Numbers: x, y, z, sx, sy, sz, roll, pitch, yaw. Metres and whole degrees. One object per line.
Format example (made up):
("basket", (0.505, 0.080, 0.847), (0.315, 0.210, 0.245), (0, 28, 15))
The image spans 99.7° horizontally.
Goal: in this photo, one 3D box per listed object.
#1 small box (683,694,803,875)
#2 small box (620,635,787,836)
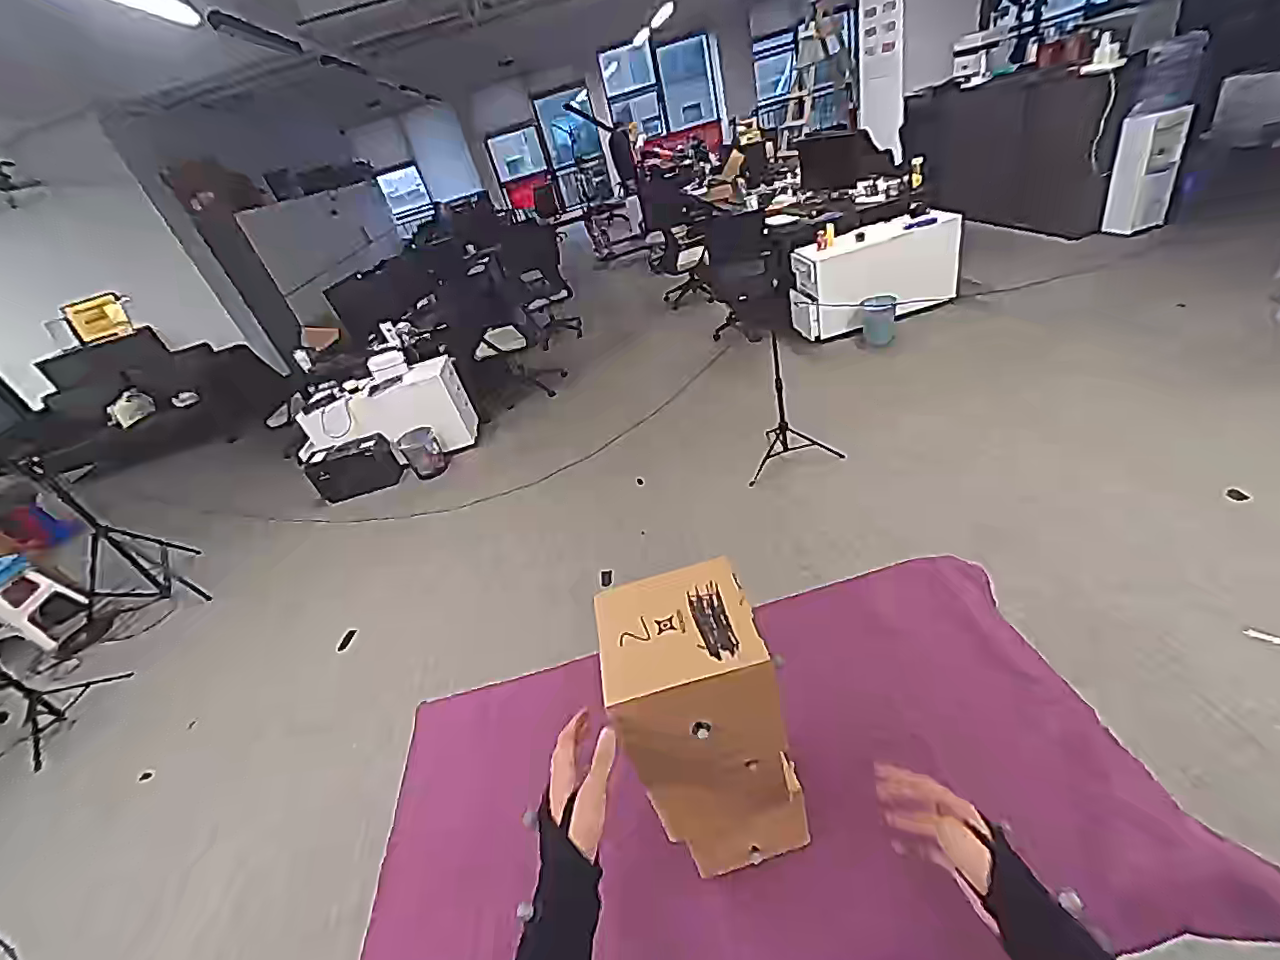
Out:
("small box", (0.143, 0.473, 0.845), (0.179, 0.176, 0.168), (-17, 32, -2))
("small box", (0.086, 0.353, 0.748), (0.179, 0.176, 0.168), (-17, 33, -1))
